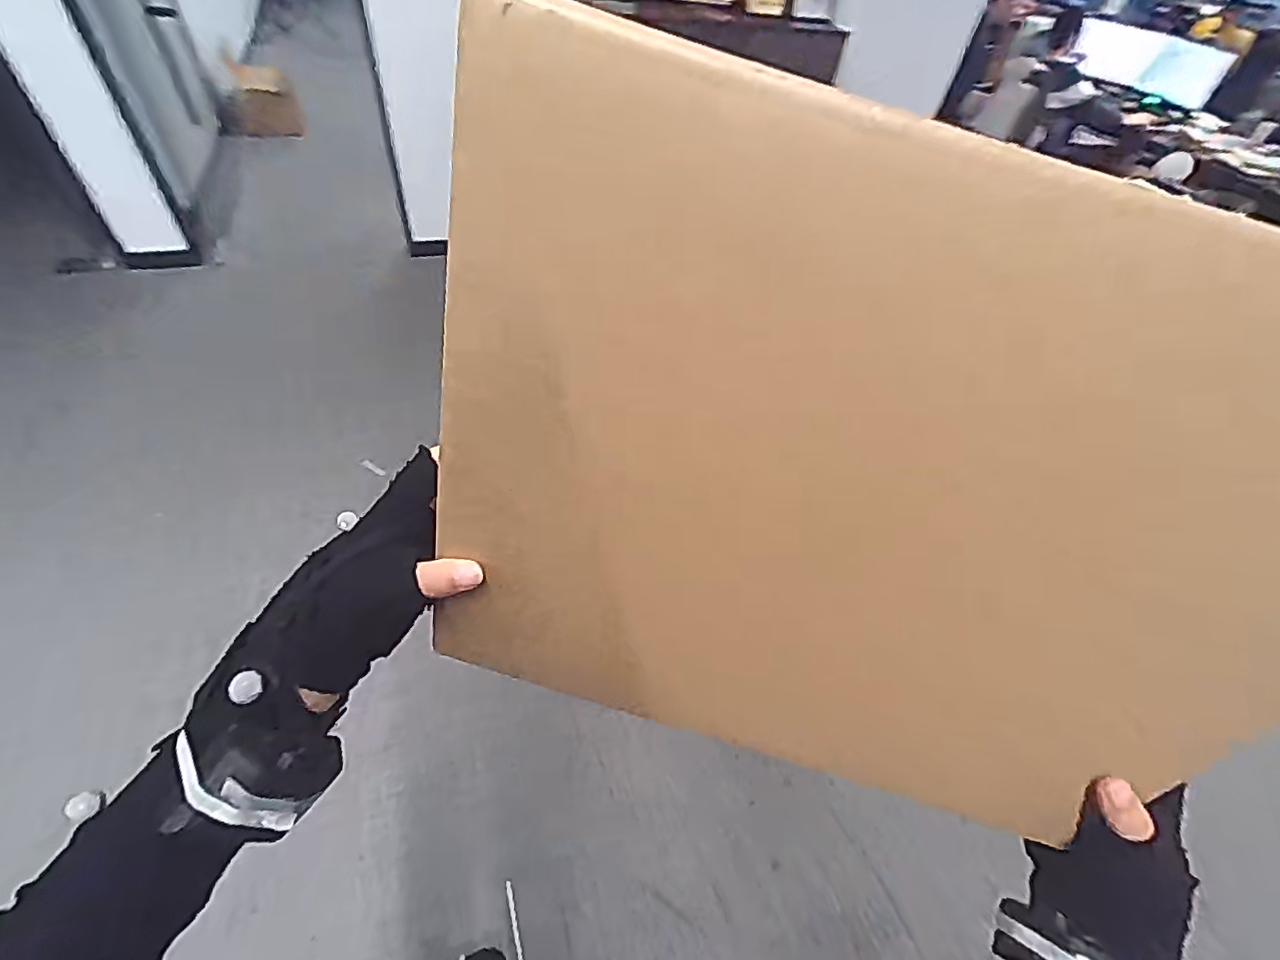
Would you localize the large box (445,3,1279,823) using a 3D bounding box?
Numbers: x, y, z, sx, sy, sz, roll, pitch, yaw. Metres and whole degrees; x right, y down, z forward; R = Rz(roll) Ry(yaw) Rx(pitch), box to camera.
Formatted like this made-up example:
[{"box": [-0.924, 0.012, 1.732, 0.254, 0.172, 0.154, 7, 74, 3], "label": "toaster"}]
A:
[{"box": [0.129, -0.038, 0.371, 0.408, 0.320, 0.320, 18, 35, -2], "label": "large box"}]
